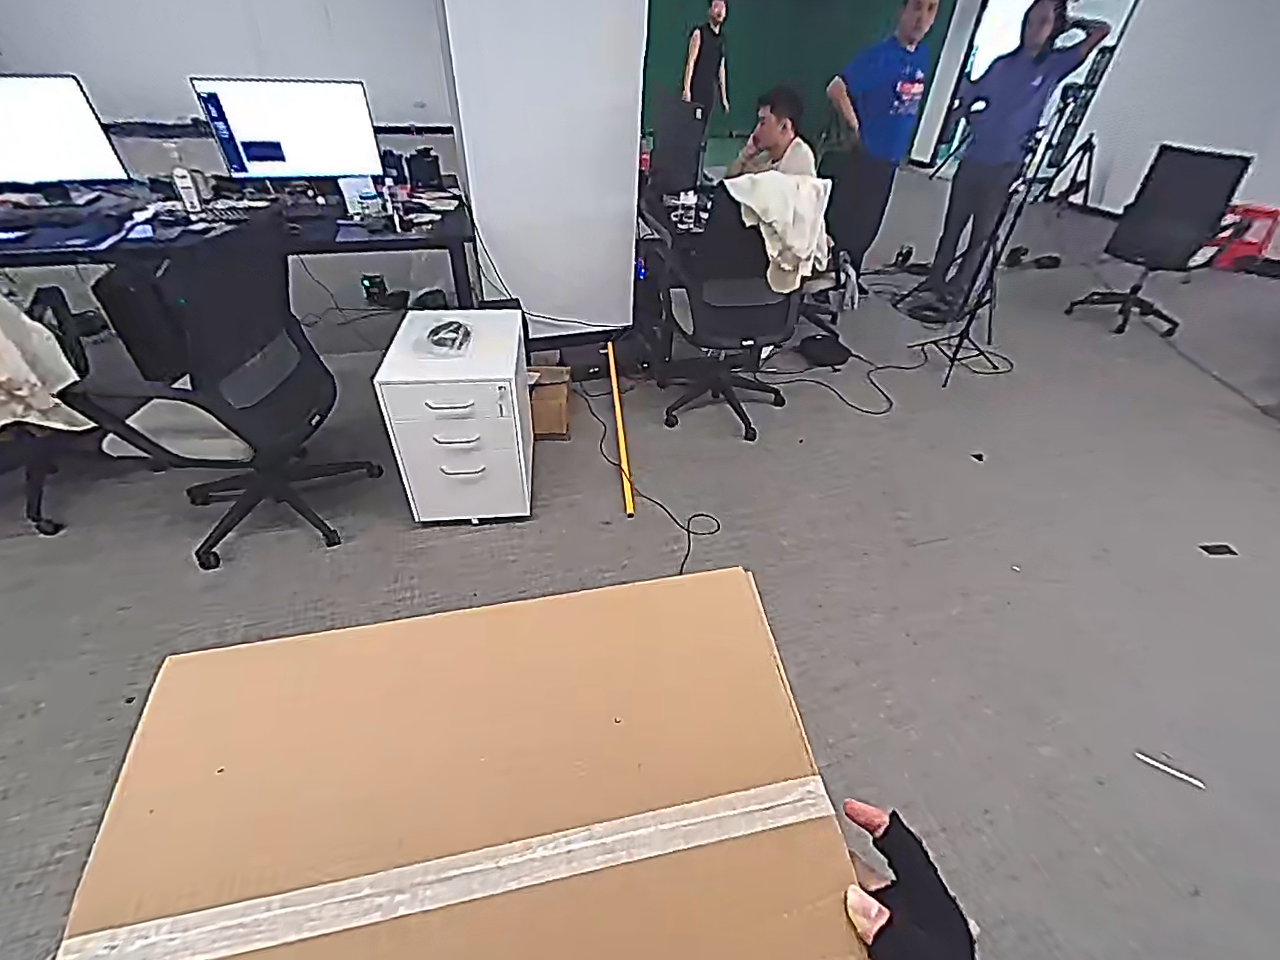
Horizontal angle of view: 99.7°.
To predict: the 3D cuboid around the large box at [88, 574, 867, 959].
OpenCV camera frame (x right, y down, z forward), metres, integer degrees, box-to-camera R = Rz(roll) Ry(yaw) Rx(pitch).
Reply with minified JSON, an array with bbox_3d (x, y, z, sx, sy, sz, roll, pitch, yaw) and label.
[{"bbox_3d":[-0.091,0.308,0.425,0.408,0.320,0.320,-8,52,-7],"label":"large box"}]
